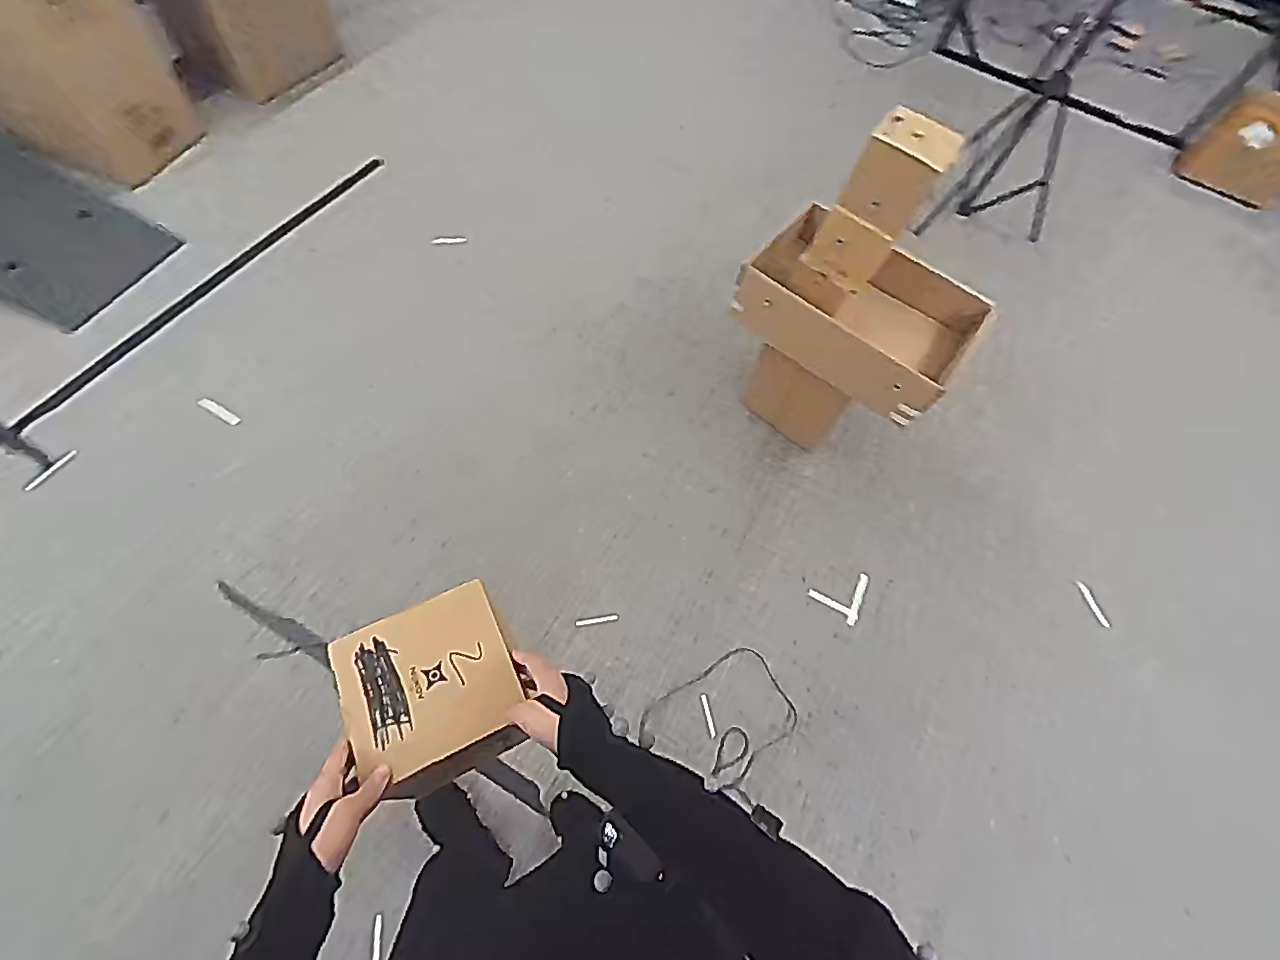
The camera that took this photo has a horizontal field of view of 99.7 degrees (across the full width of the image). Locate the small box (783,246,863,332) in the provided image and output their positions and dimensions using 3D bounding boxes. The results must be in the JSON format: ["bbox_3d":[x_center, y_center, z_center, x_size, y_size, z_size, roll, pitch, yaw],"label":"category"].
[{"bbox_3d":[0.528,-0.556,1.529,0.168,0.176,0.179,40,65,11],"label":"small box"}]

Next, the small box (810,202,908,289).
[{"bbox_3d":[0.564,-0.627,1.387,0.168,0.176,0.179,37,64,9],"label":"small box"}]

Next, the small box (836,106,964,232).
[{"bbox_3d":[0.592,-0.705,1.245,0.179,0.176,0.168,36,64,9],"label":"small box"}]
